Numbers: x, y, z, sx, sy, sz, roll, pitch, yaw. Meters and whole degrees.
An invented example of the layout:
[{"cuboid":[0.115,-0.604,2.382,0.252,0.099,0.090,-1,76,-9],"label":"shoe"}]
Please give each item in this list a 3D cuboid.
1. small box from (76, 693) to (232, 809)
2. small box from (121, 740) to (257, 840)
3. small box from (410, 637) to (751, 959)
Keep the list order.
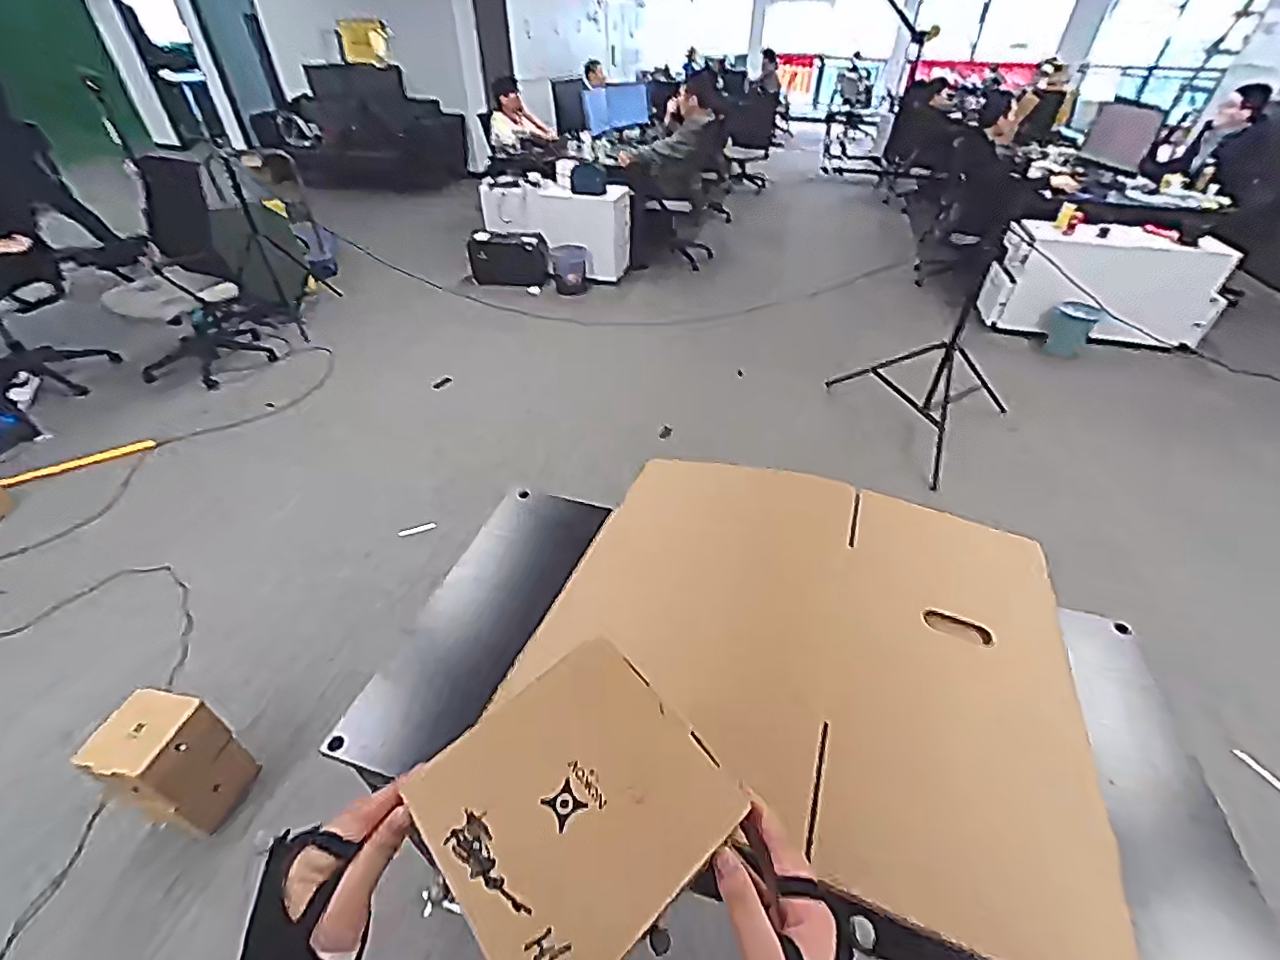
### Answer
[{"cuboid":[-1.096,0.623,1.240,0.168,0.176,0.179,7,39,6],"label":"small box"},{"cuboid":[-1.098,0.752,1.339,0.168,0.176,0.179,9,41,9],"label":"small box"},{"cuboid":[-0.044,0.267,0.423,0.179,0.176,0.168,-32,54,-29],"label":"small box"}]
